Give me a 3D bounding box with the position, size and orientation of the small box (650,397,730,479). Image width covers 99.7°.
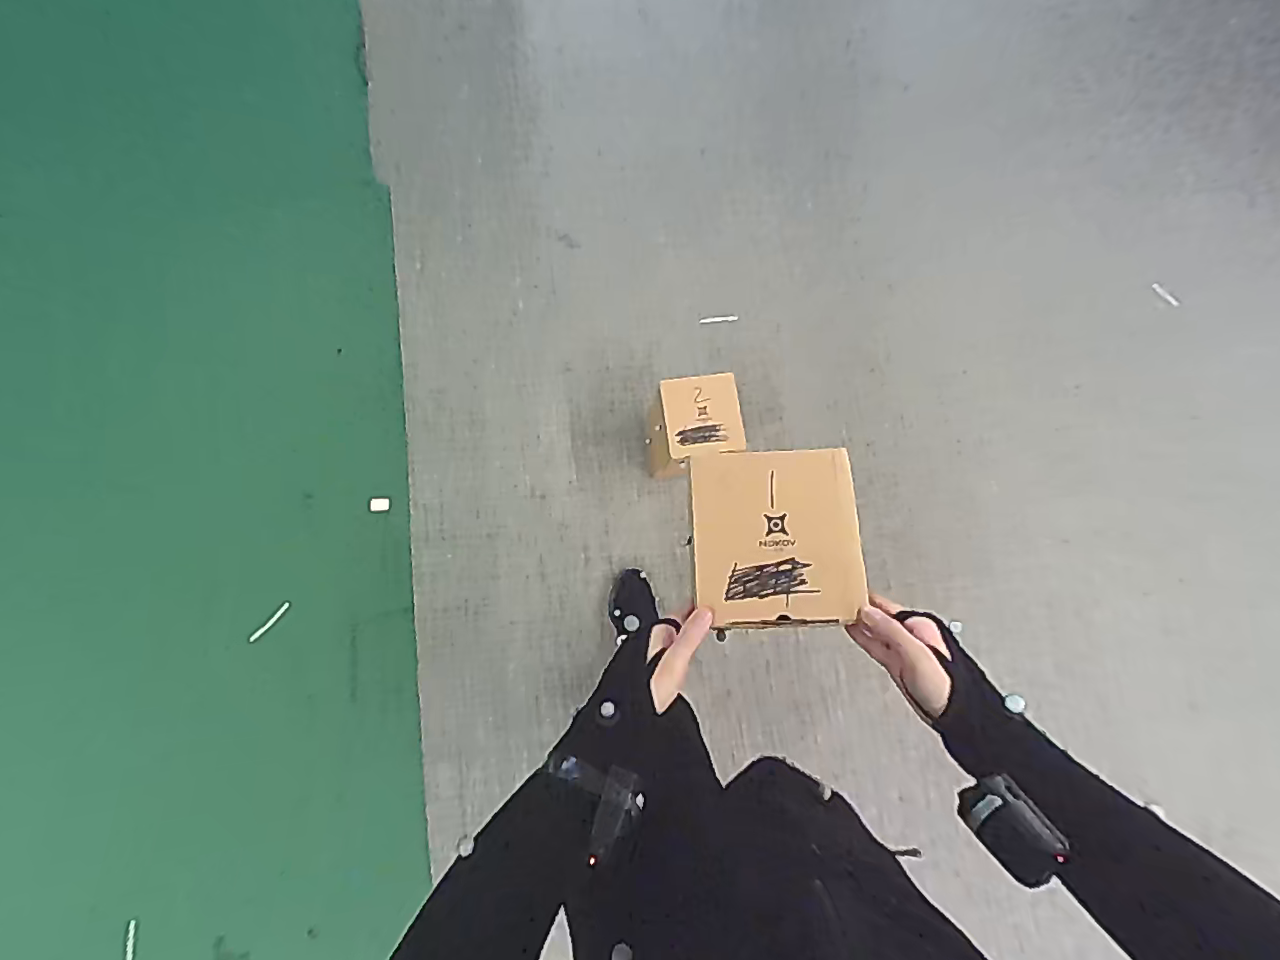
[{"bbox_3d":[0.123,-0.103,1.401,0.179,0.176,0.168,-7,81,-6],"label":"small box"}]

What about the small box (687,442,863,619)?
[{"bbox_3d":[0.141,0.069,0.628,0.168,0.176,0.179,-3,72,3],"label":"small box"}]
